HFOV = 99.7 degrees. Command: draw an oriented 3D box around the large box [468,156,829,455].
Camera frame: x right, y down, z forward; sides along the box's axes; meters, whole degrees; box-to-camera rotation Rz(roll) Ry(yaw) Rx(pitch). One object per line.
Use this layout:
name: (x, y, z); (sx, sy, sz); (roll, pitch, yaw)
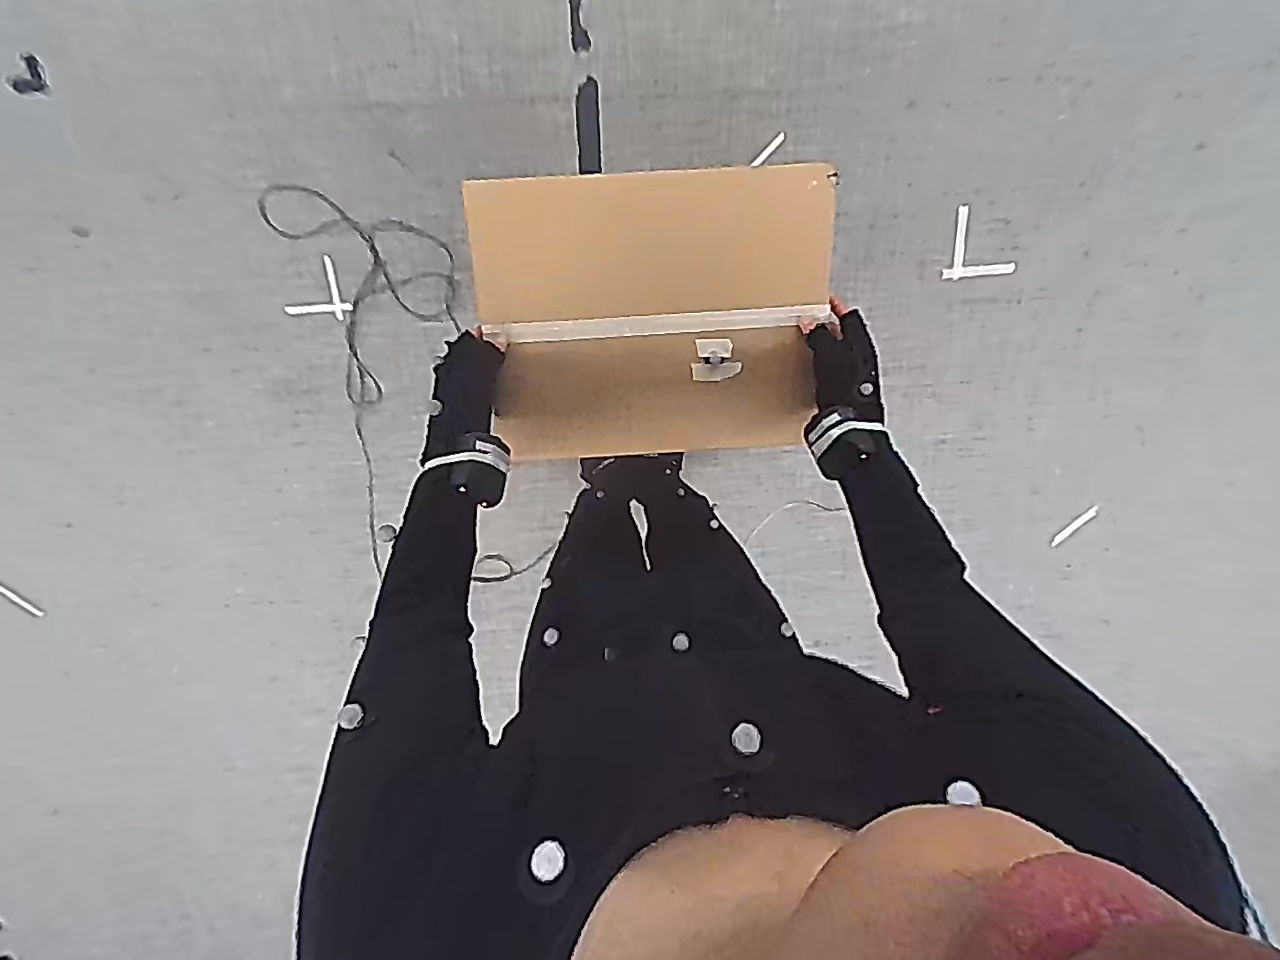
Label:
large box: (0.013, -0.238, 0.774); (0.408, 0.320, 0.320); (-4, 109, -2)
